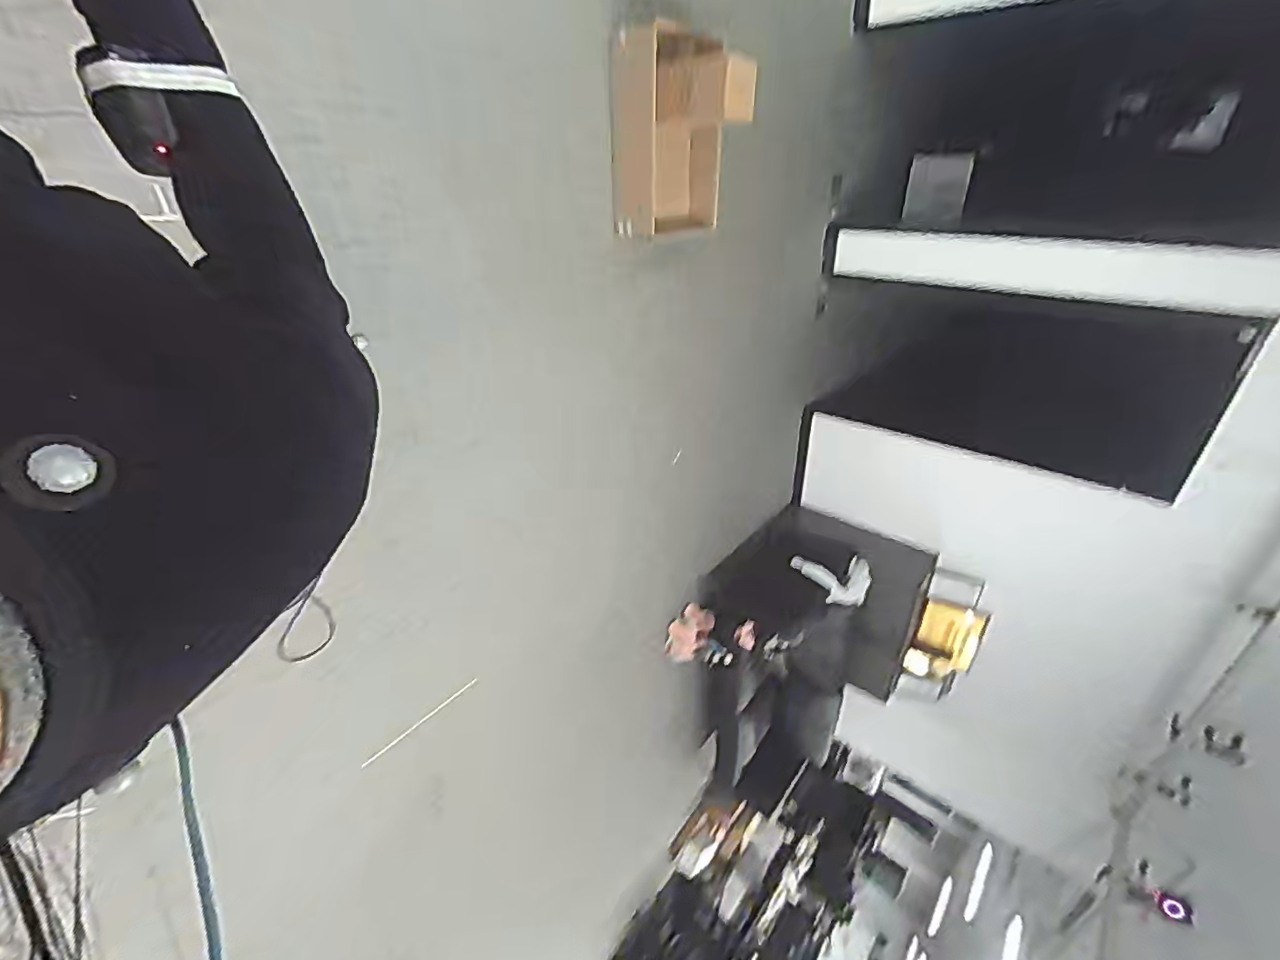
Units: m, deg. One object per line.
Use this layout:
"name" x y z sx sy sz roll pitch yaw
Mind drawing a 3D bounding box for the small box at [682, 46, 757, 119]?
"small box" 0.256 -1.283 1.756 0.179 0.176 0.168 -28 128 -41
